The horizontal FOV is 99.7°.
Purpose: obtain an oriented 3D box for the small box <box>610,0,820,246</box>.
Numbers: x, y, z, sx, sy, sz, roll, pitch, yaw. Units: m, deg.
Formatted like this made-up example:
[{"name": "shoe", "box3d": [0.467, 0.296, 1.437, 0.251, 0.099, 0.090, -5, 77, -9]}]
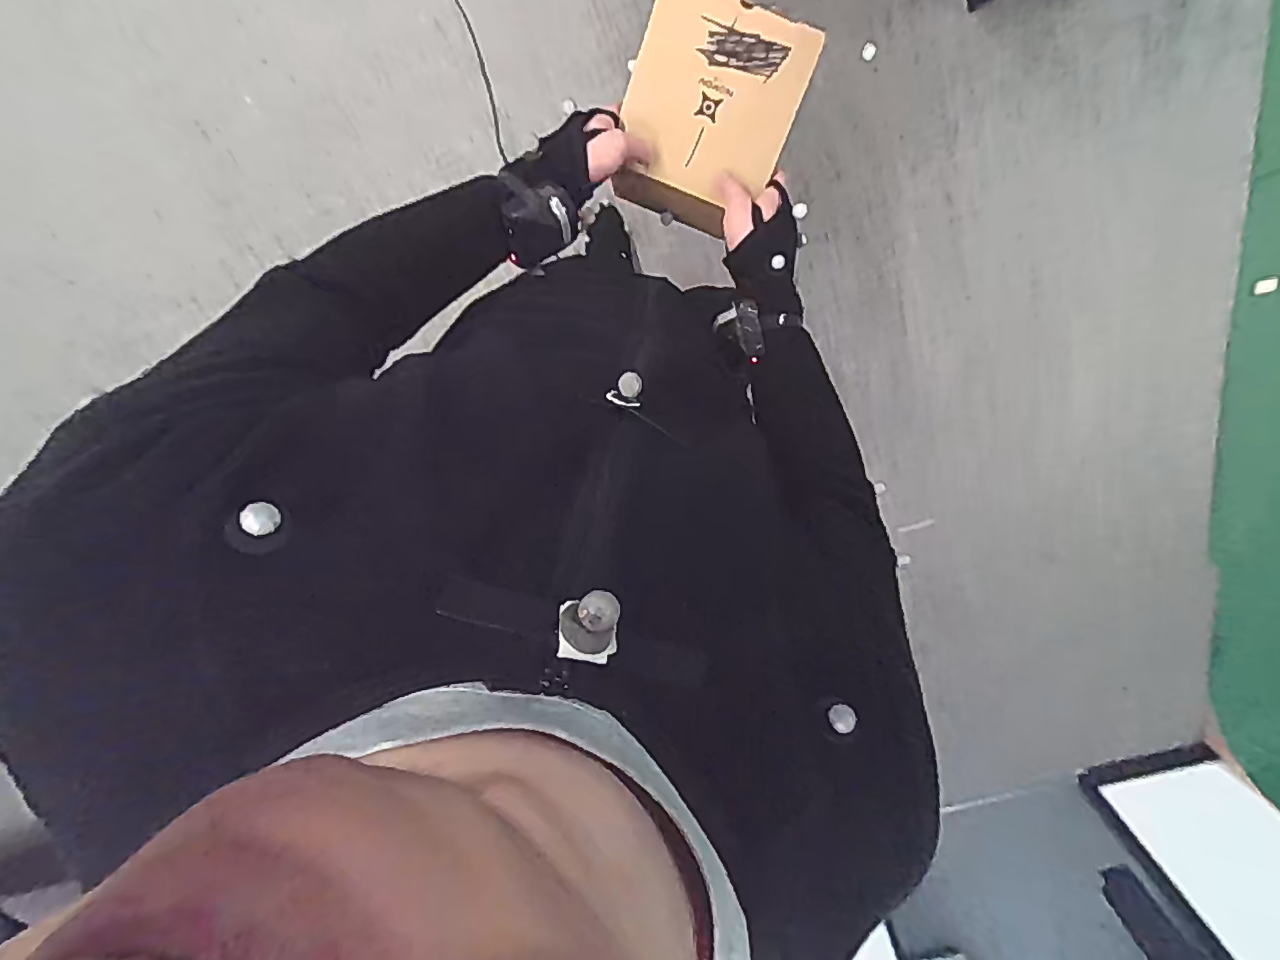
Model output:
[{"name": "small box", "box3d": [0.072, -0.391, 0.618, 0.168, 0.176, 0.179, 19, 106, -5]}]
